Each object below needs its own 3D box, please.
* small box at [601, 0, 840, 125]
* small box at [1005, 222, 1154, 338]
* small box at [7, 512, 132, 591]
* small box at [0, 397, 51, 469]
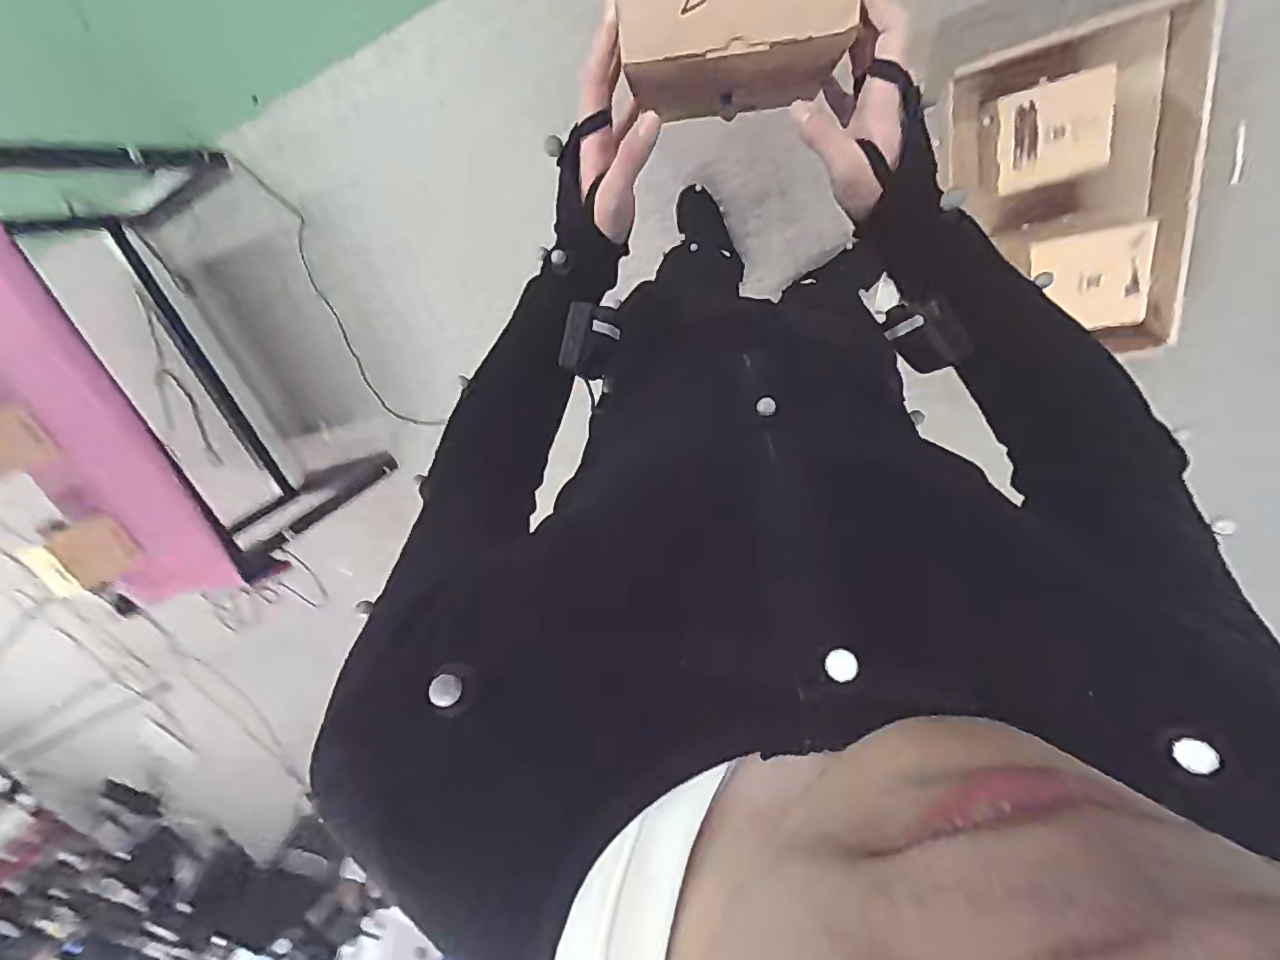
[{"bbox_3d":[0.057,-0.411,0.427,0.168,0.176,0.179,-2,110,7],"label":"small box"},{"bbox_3d":[0.802,-0.374,1.011,0.179,0.176,0.168,-3,116,23],"label":"small box"},{"bbox_3d":[-1.663,0.206,1.590,0.179,0.176,0.168,-9,114,24],"label":"small box"},{"bbox_3d":[-1.764,-0.109,1.452,0.179,0.176,0.168,-8,116,22],"label":"small box"}]
